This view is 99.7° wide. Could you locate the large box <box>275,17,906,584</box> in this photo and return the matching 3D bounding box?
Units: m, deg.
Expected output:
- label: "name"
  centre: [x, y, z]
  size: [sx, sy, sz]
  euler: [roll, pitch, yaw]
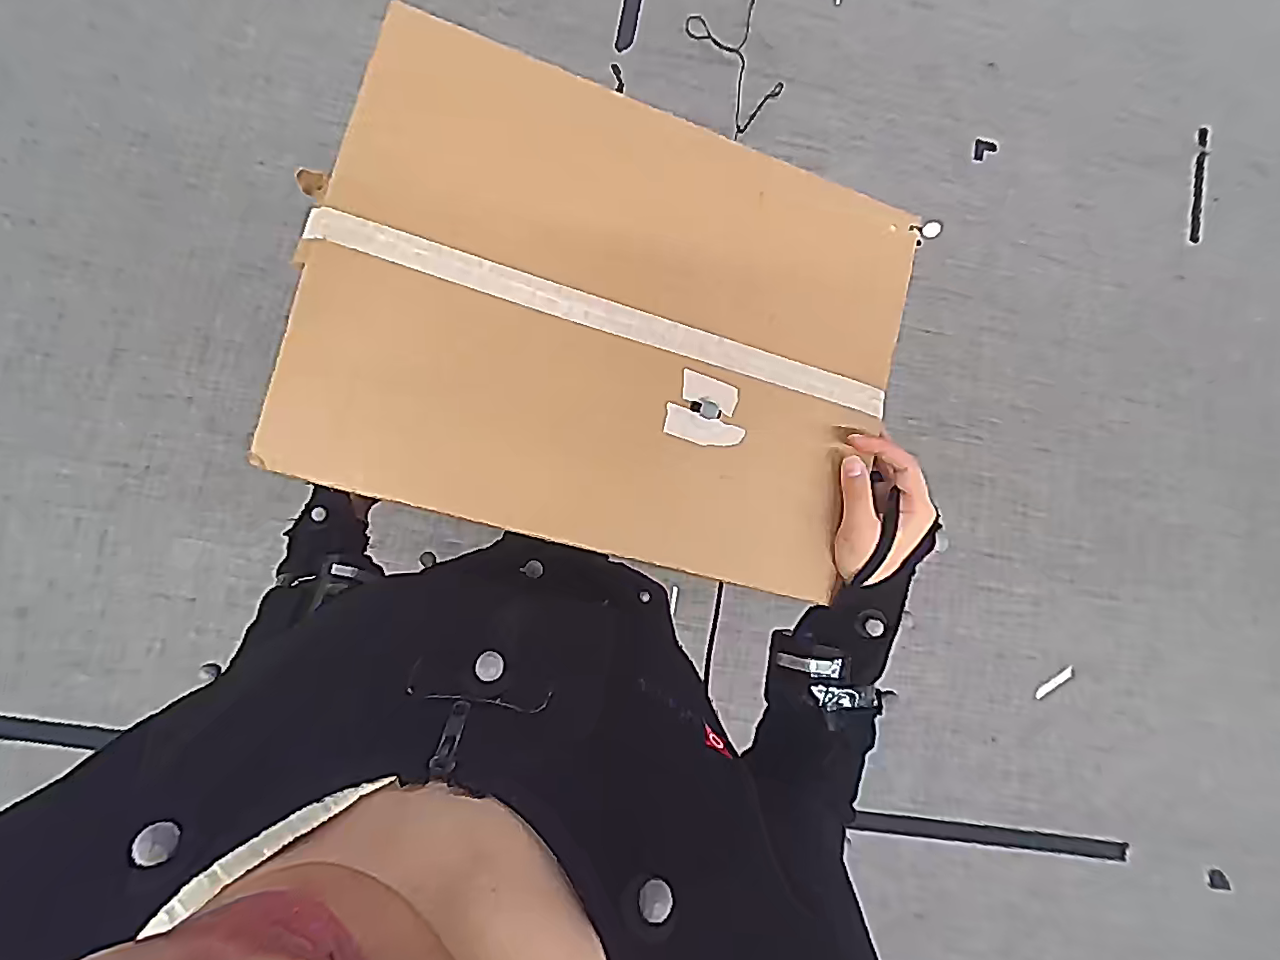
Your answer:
- label: "large box"
  centre: [-0.039, -0.109, 0.528]
  size: [0.408, 0.320, 0.320]
  euler: [15, 86, -12]
